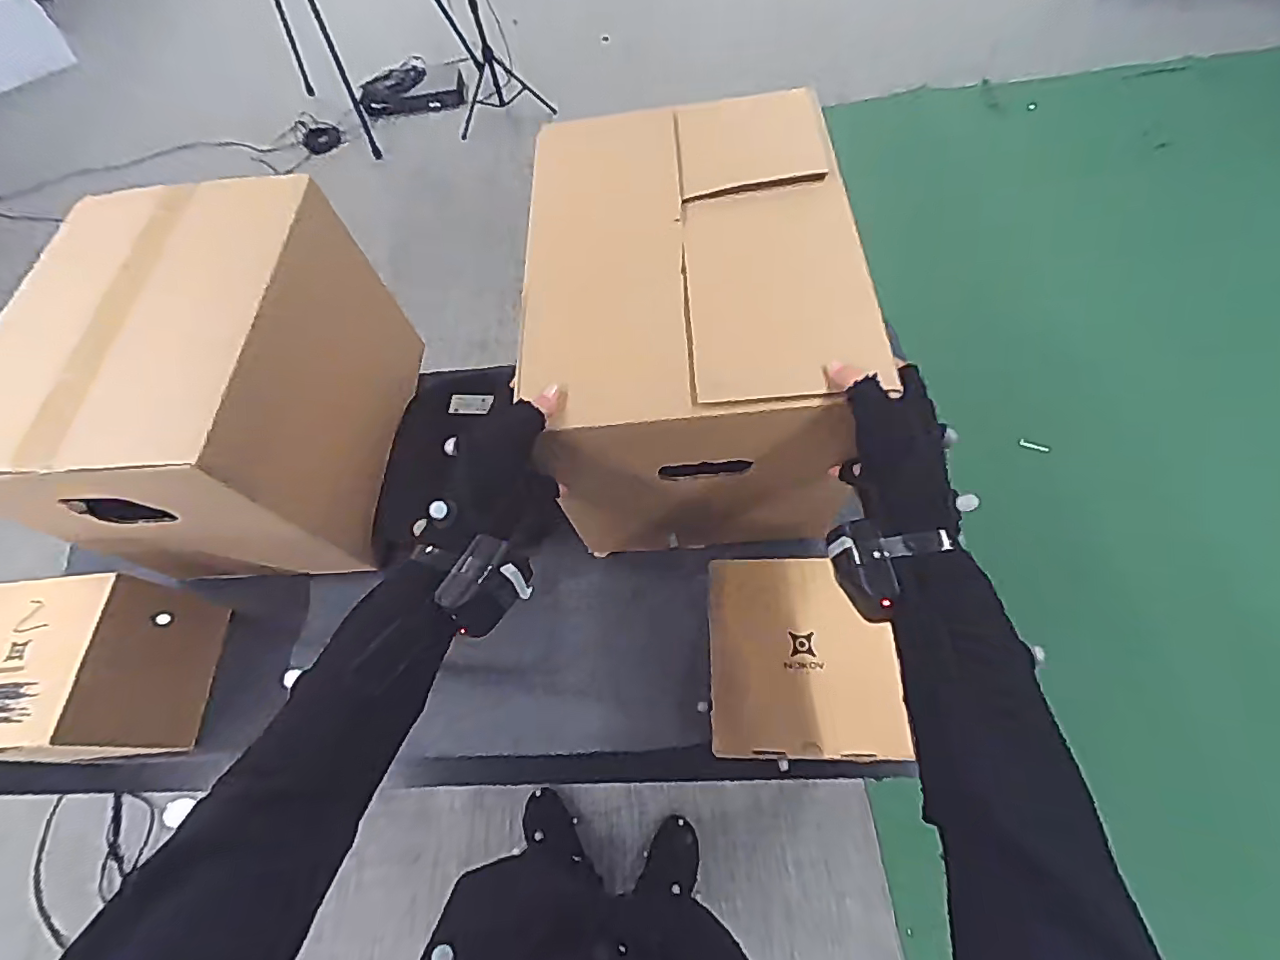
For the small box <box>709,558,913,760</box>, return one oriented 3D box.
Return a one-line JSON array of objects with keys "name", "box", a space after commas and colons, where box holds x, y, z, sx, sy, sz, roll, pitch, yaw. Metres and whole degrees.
[{"name": "small box", "box": [0.158, 0.191, 0.566, 0.168, 0.176, 0.179, -1, 64, 6]}]
